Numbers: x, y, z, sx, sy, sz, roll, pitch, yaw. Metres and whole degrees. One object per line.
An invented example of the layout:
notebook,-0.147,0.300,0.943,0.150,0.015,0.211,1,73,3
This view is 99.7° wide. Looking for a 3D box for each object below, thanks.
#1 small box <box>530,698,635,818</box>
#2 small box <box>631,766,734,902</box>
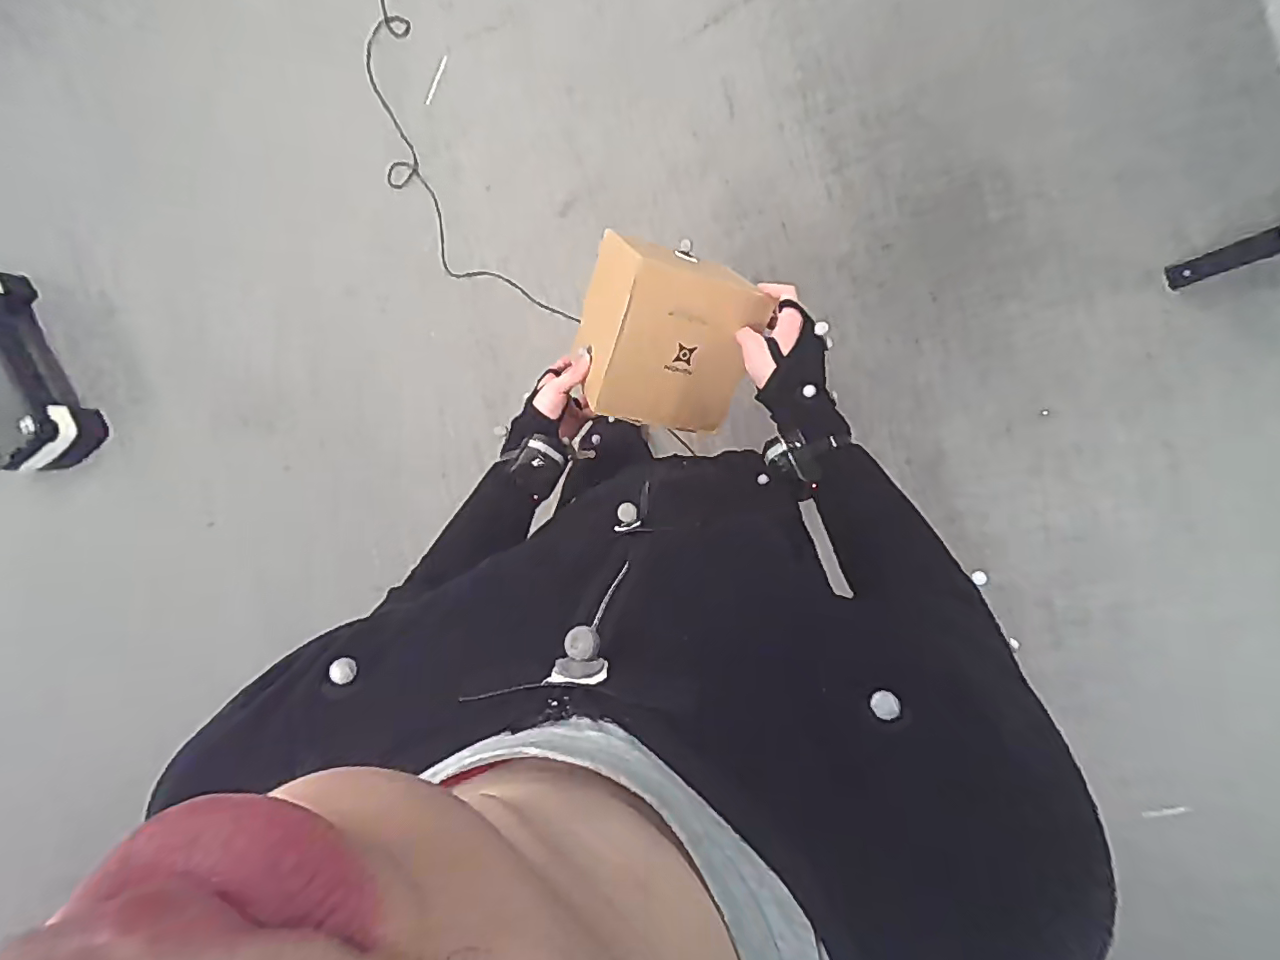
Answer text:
small box,-0.118,0.617,1.219,0.179,0.176,0.168,-18,91,12
small box,0.098,0.771,1.193,0.179,0.176,0.168,-20,91,8
